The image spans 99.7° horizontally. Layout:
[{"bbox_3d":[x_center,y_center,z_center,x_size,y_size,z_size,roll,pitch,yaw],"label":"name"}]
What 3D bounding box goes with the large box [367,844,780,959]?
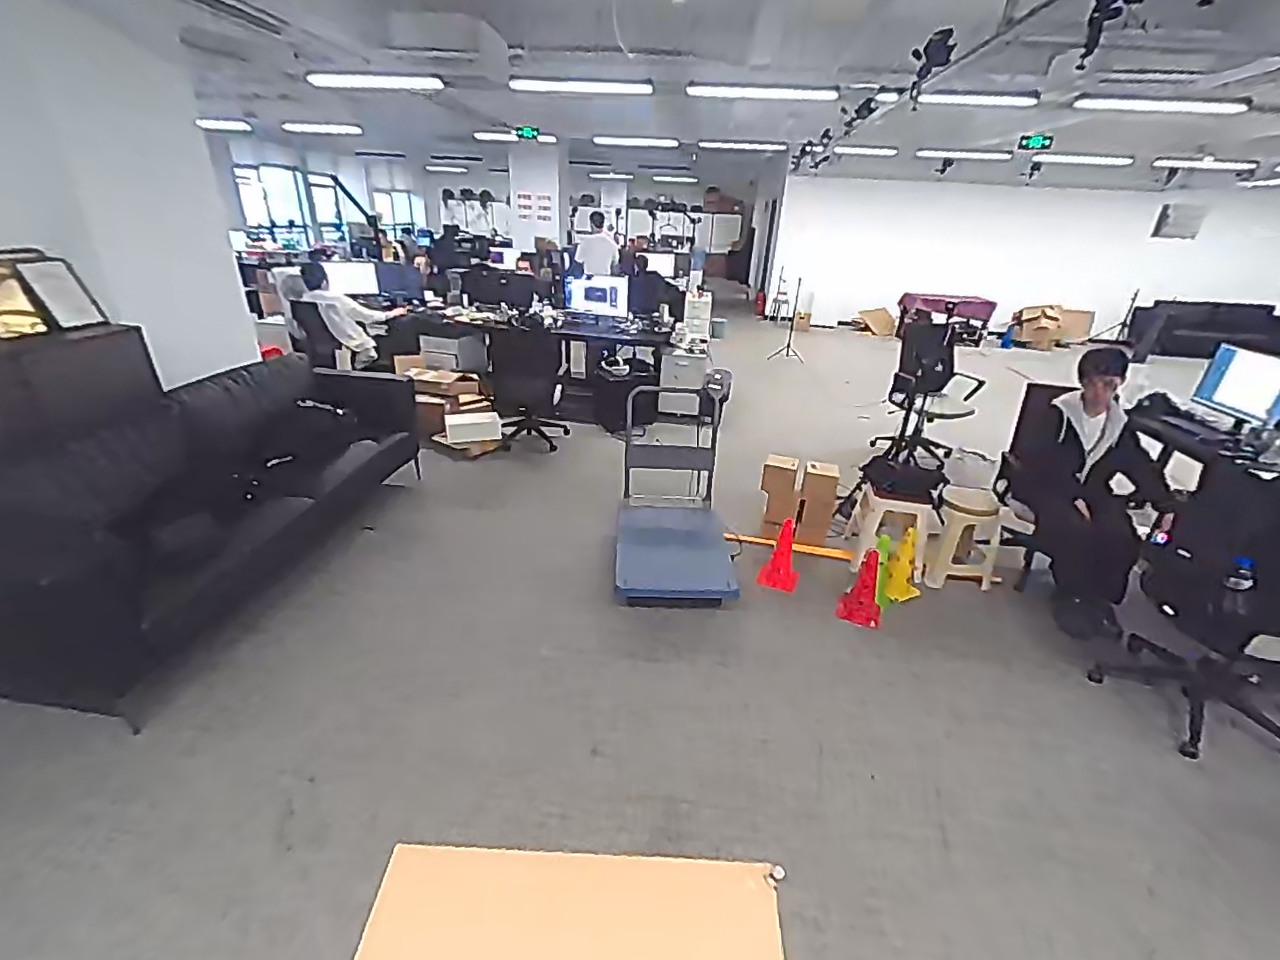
[{"bbox_3d":[-0.069,0.615,0.558,0.408,0.320,0.320,2,38,1],"label":"large box"}]
